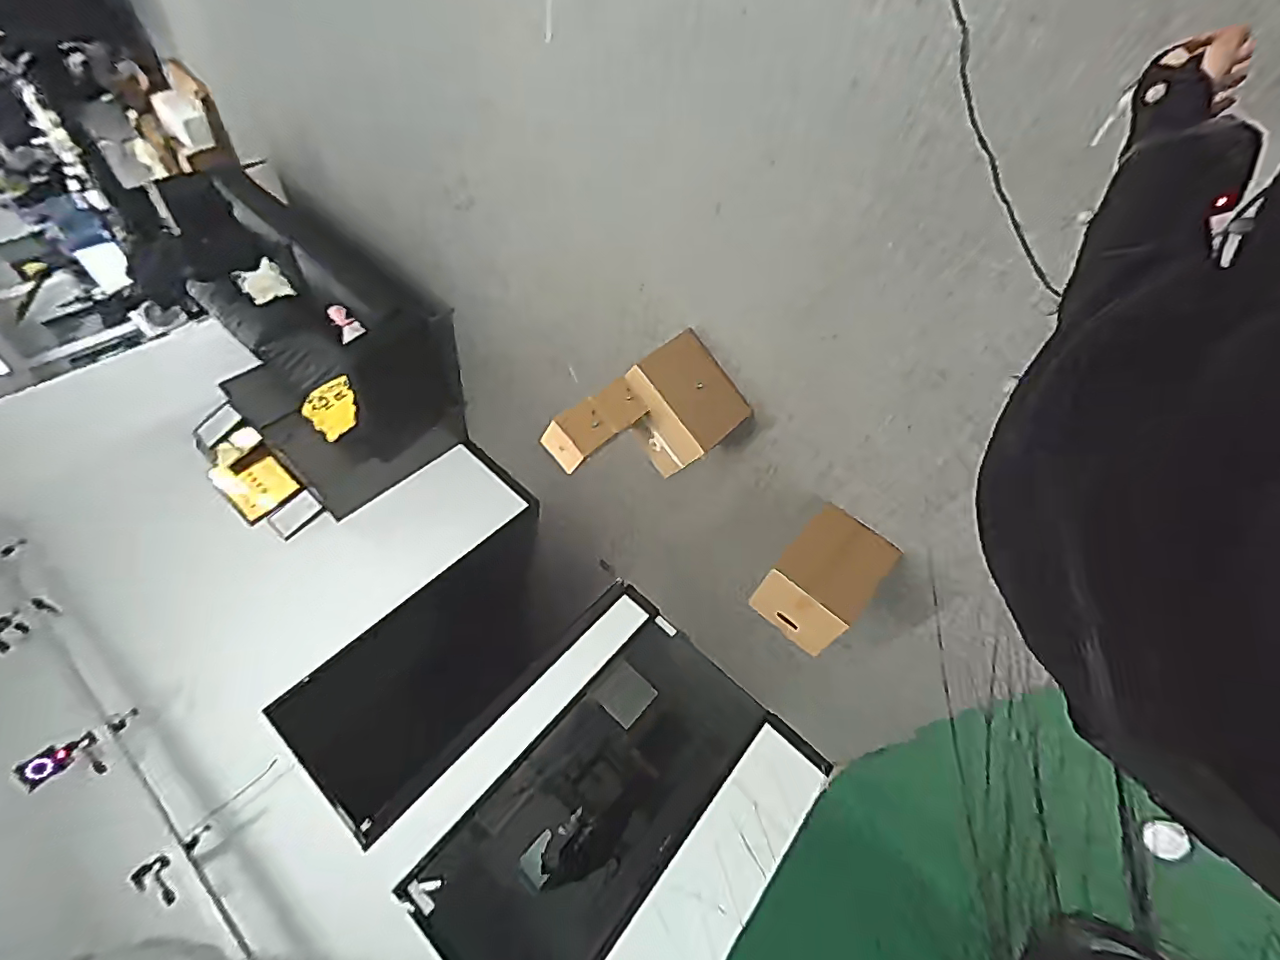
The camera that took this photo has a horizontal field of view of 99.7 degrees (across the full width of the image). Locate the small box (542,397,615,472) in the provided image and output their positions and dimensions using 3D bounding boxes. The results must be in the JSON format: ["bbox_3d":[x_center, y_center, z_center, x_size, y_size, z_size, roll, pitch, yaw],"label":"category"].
[{"bbox_3d":[-0.213,-0.161,1.902,0.168,0.176,0.179,50,149,0],"label":"small box"}]
